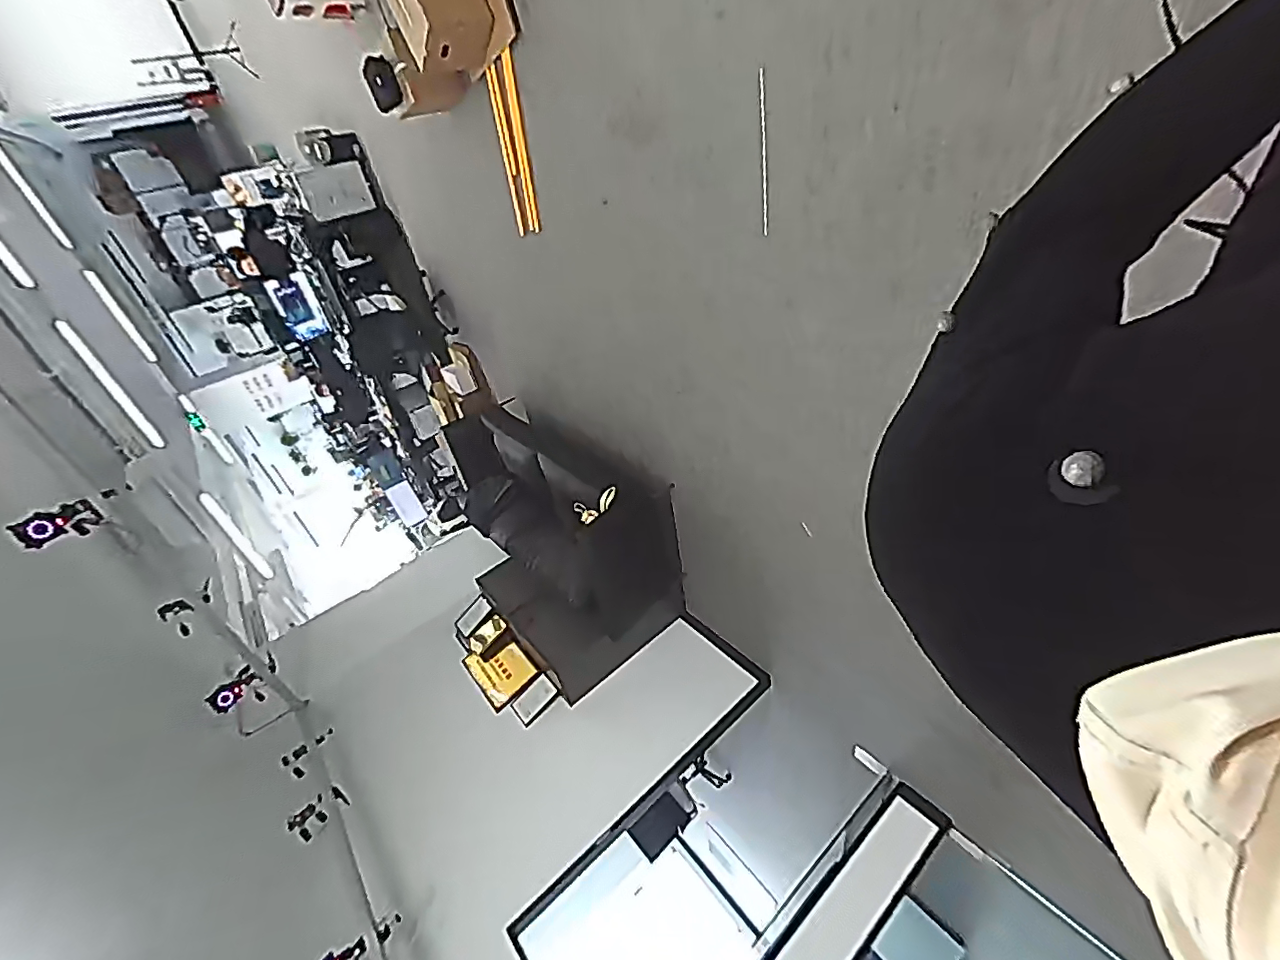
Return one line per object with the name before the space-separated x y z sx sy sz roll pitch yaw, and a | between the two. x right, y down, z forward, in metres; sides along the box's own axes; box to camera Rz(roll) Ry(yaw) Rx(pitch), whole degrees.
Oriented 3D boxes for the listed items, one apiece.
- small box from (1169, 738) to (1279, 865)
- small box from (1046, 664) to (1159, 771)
small box | 1.444 0.768 1.299 0.168 0.176 0.179 35 146 39
small box | 1.259 0.640 1.472 0.168 0.176 0.179 34 146 36
